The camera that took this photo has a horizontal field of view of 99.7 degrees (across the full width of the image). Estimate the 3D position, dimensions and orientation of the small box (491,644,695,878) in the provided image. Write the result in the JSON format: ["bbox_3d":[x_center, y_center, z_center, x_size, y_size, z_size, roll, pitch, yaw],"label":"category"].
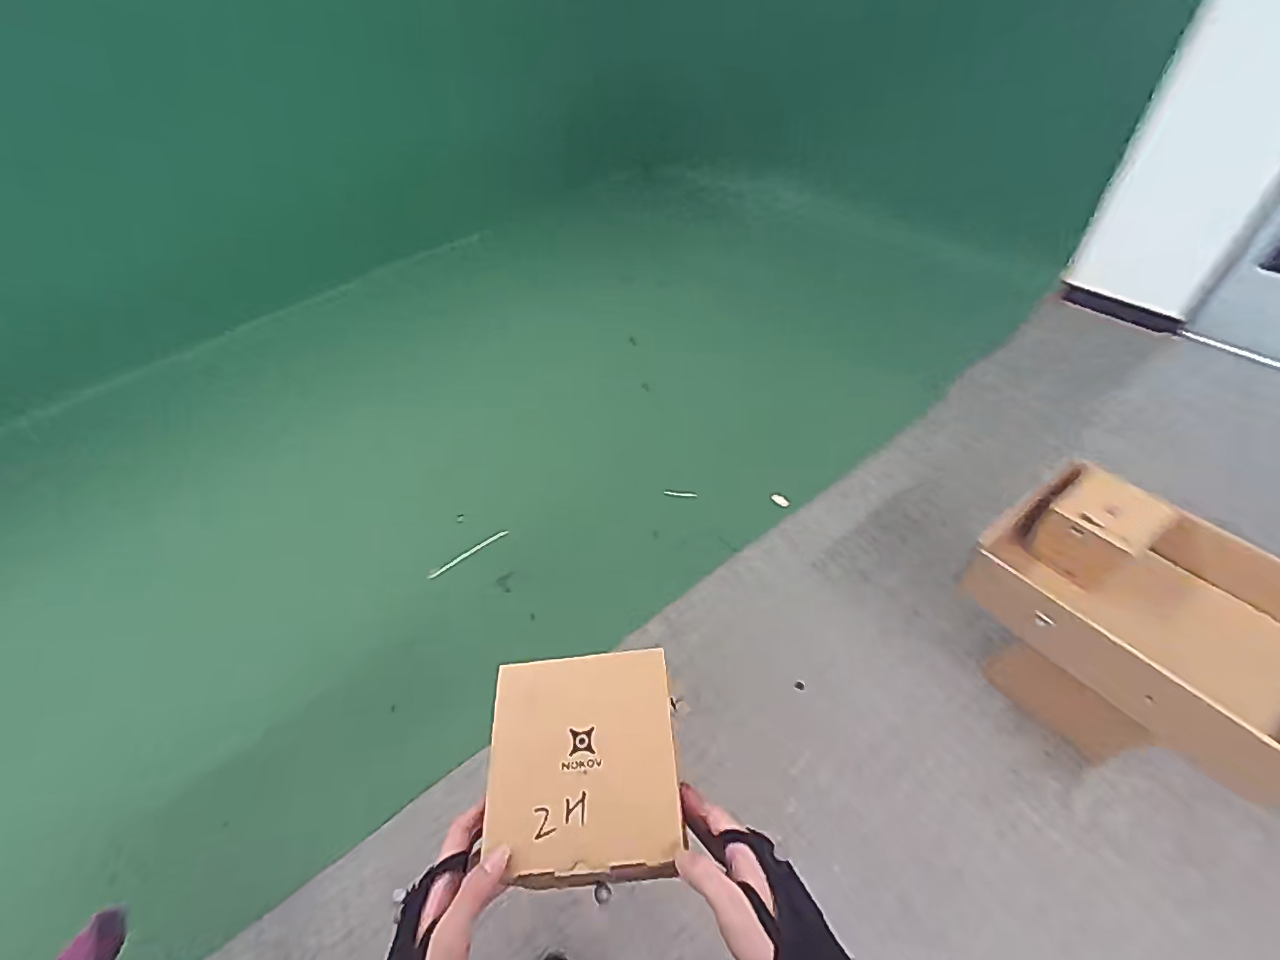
[{"bbox_3d":[-0.035,0.284,0.542,0.168,0.176,0.179,-5,51,3],"label":"small box"}]

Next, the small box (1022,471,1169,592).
[{"bbox_3d":[1.018,0.117,1.228,0.179,0.176,0.168,-31,52,-18],"label":"small box"}]
